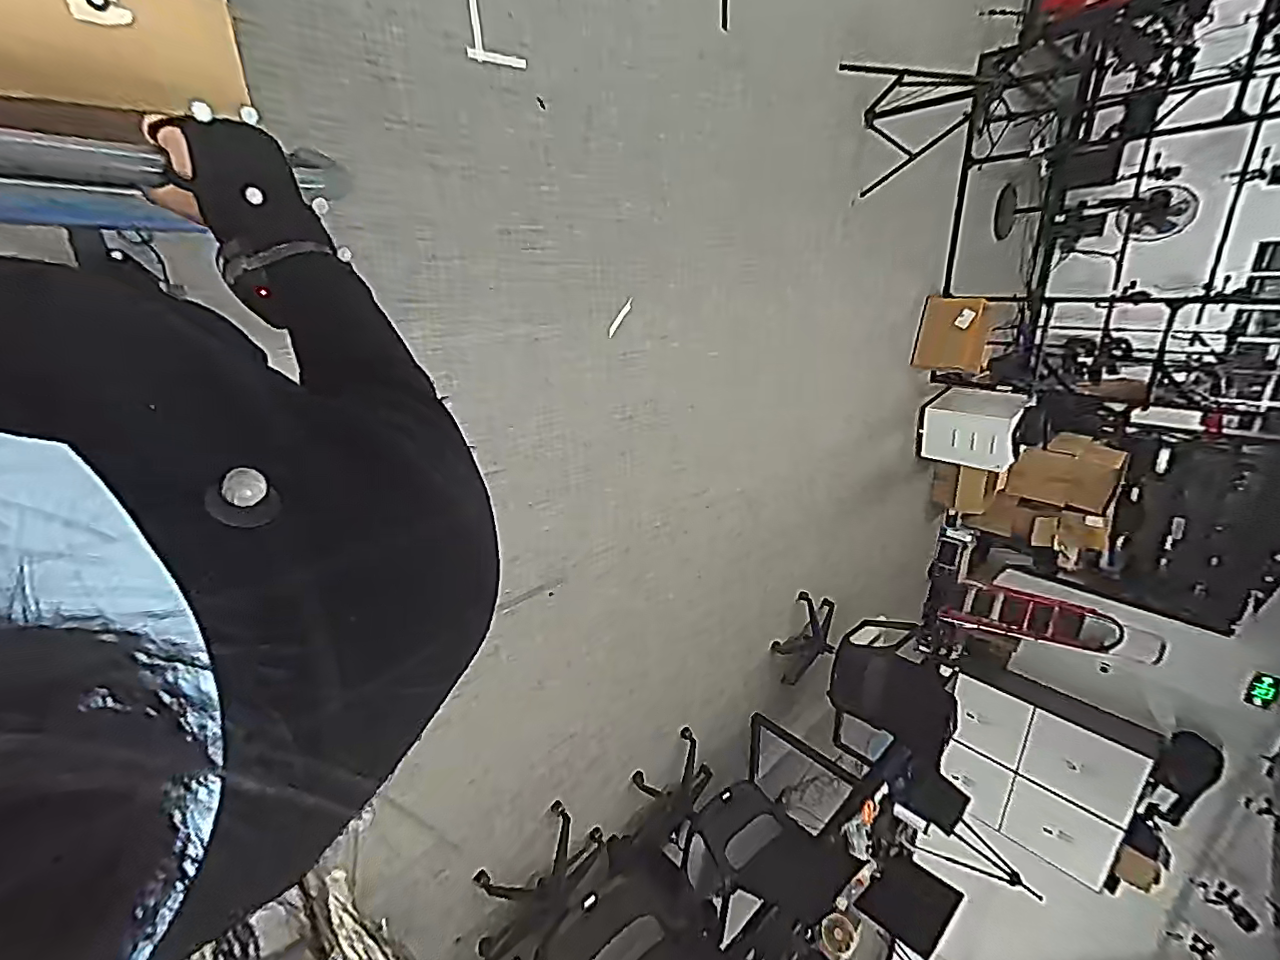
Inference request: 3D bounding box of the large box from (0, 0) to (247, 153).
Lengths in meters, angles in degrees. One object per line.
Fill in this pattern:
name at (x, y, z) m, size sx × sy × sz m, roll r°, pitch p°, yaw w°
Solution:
large box at (-0.824, -0.644, 0.706) m, size 0.408 × 0.320 × 0.320 m, roll -22°, pitch 119°, yaw -40°
